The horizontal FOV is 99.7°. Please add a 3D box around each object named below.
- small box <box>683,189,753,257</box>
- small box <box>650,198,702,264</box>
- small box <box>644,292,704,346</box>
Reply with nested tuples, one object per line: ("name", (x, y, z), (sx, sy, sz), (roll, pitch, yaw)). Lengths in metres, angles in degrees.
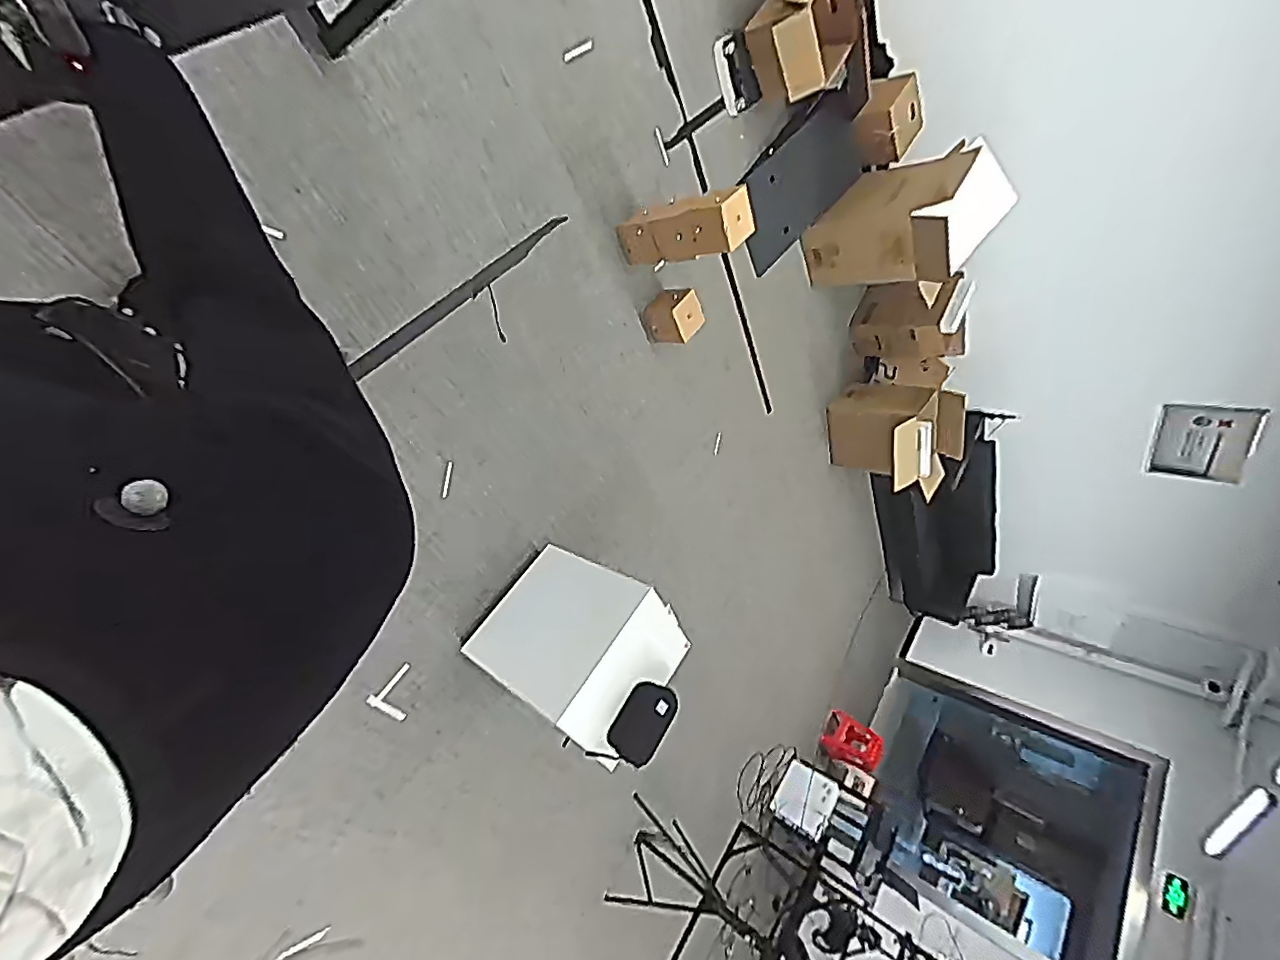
("small box", (0.283, -0.933, 1.970), (0.179, 0.176, 0.168), (-49, 133, -27))
("small box", (0.163, -0.952, 2.079), (0.168, 0.176, 0.179), (-51, 135, -26))
("small box", (0.148, -0.711, 2.386), (0.179, 0.176, 0.168), (-51, 132, -25))
